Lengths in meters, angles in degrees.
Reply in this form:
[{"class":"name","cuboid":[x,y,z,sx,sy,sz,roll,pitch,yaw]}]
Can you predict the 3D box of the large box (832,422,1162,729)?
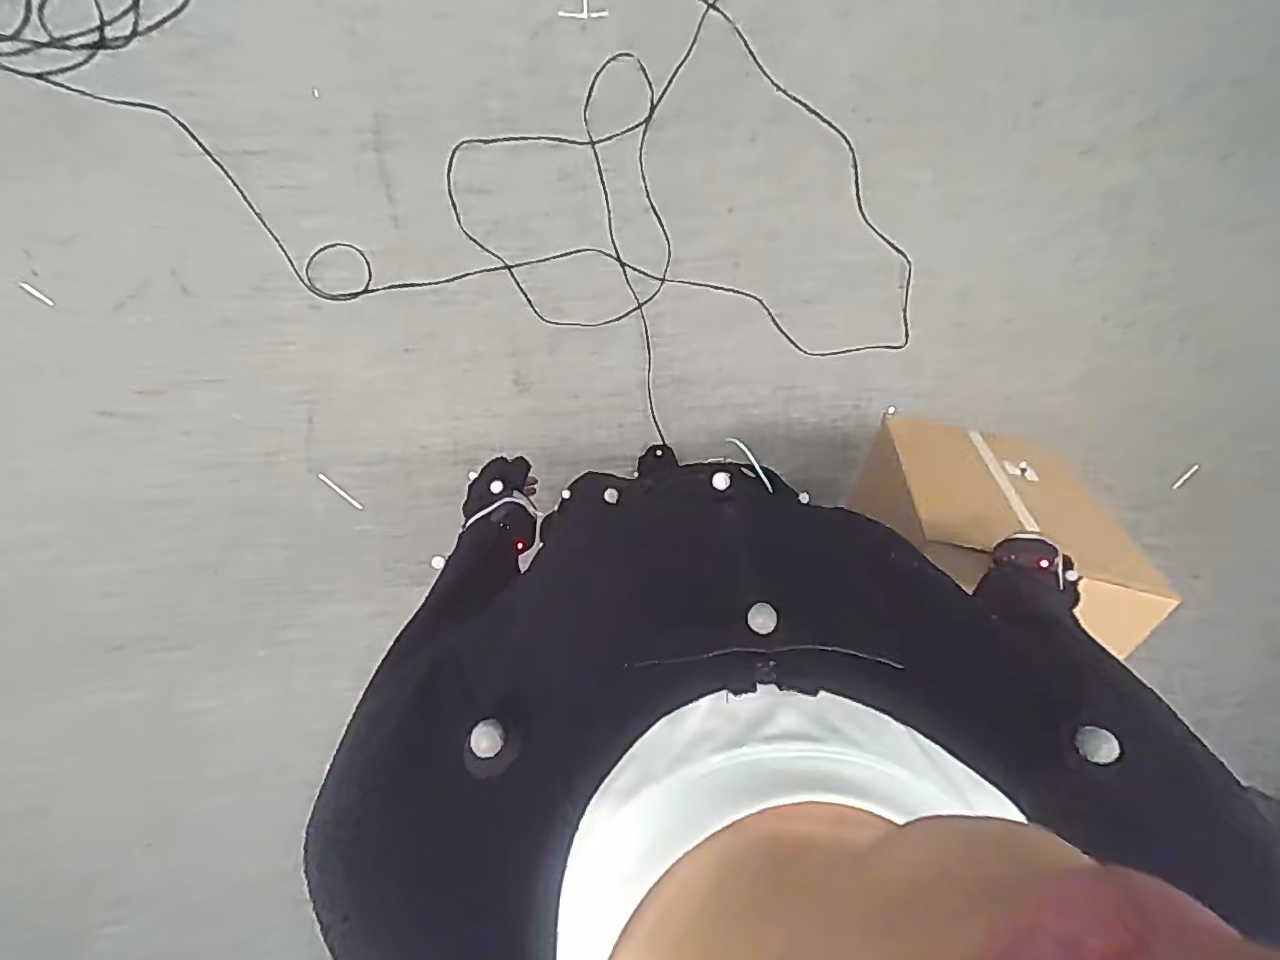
[{"class":"large box","cuboid":[0.550,0.144,0.953,0.320,0.408,0.320,15,123,7]}]
